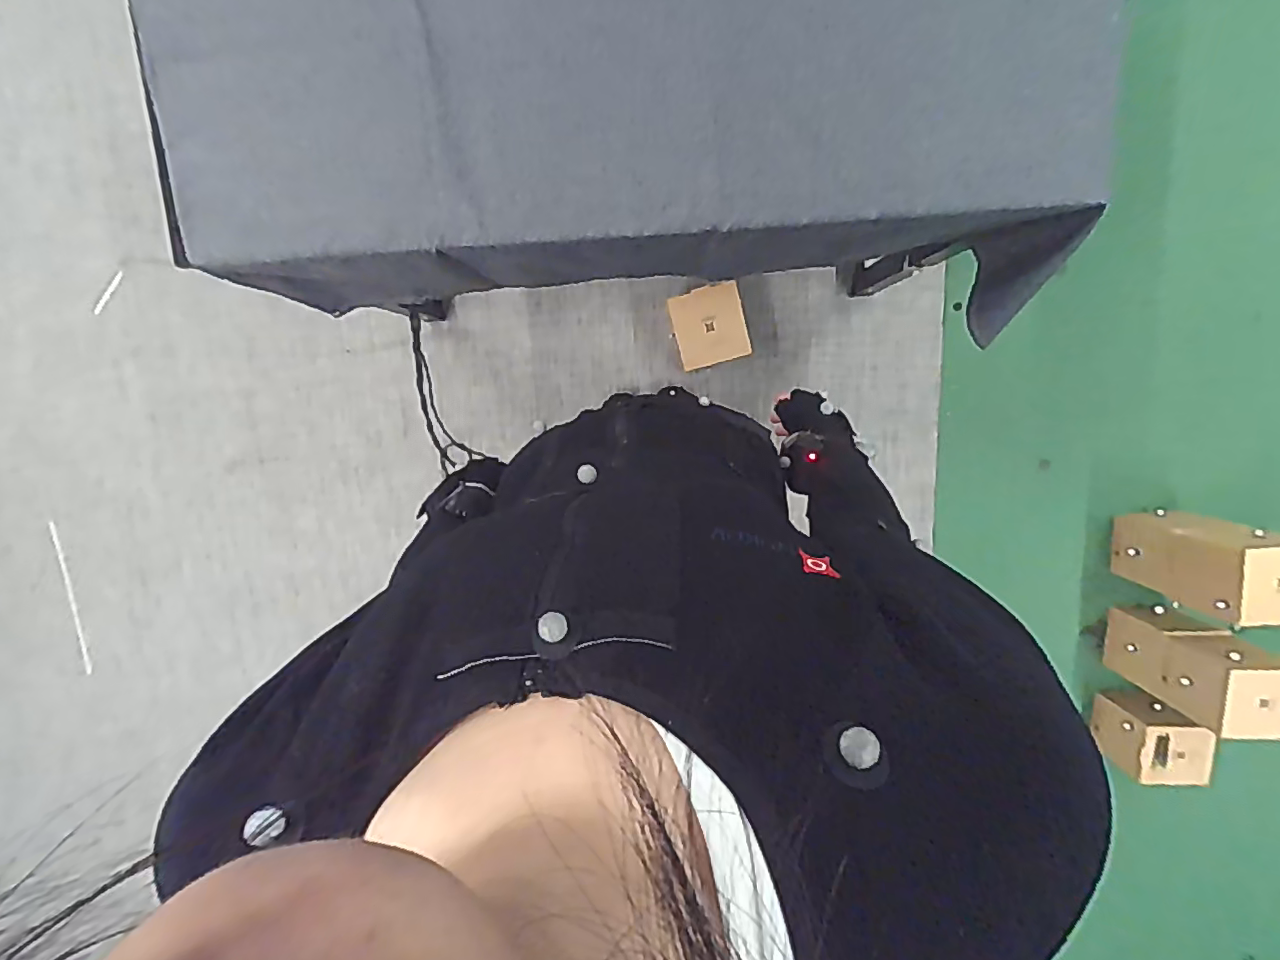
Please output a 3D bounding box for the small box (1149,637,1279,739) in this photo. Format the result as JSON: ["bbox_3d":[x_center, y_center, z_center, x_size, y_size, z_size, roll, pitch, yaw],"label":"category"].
[{"bbox_3d":[1.358,0.480,1.267,0.179,0.176,0.168,-1,100,2],"label":"small box"}]

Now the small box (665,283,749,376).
[{"bbox_3d":[0.159,-0.364,1.336,0.168,0.176,0.179,-15,98,4],"label":"small box"}]

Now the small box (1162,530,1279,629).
[{"bbox_3d":[1.344,0.217,1.226,0.168,0.176,0.179,-5,99,2],"label":"small box"}]
